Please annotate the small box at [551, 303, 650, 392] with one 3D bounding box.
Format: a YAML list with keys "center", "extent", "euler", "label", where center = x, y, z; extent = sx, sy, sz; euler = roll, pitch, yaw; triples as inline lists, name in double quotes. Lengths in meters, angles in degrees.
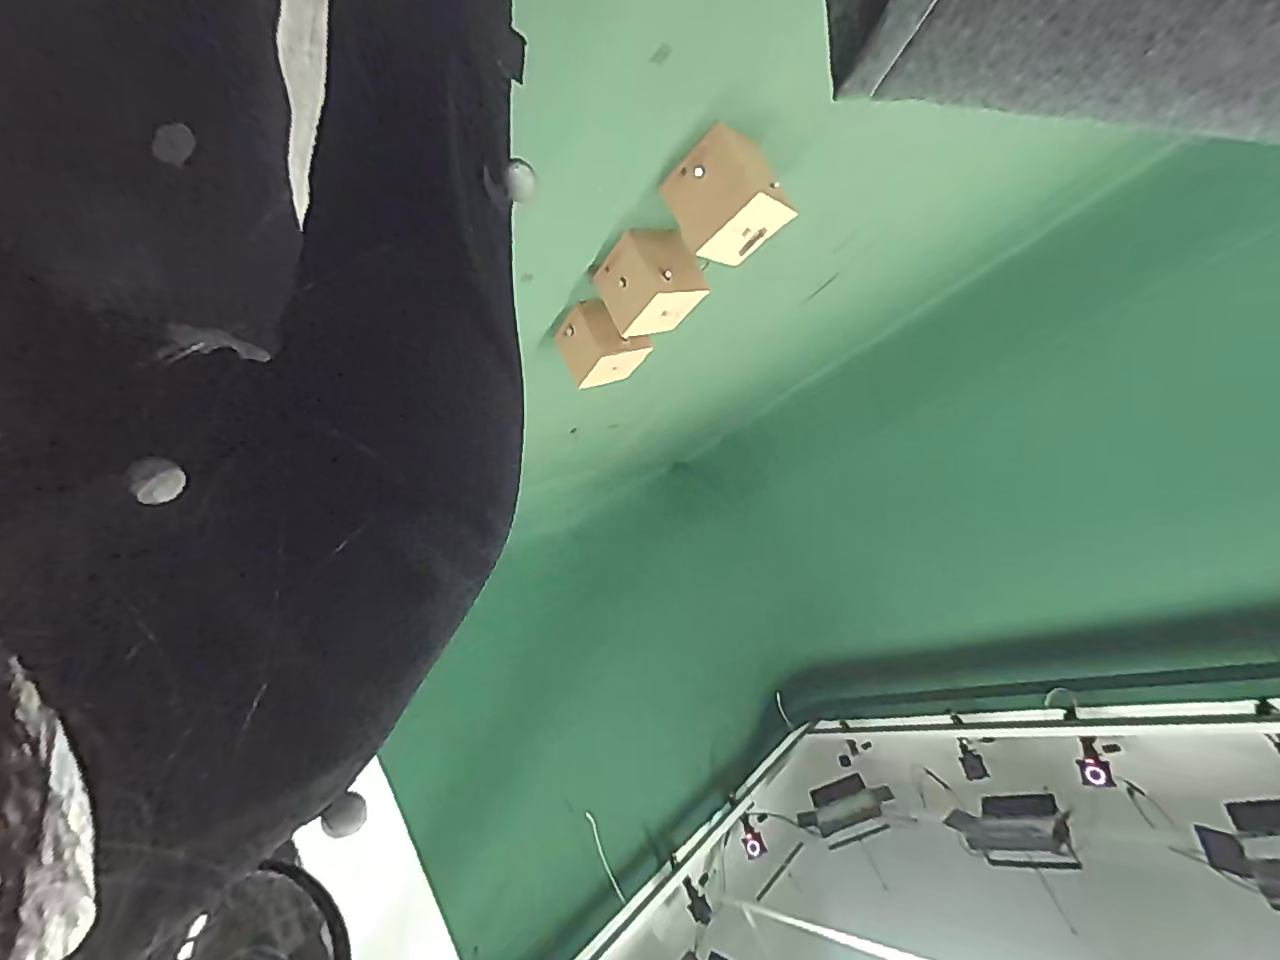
- center: [-0.112, -0.367, 1.467]
  extent: [0.179, 0.176, 0.168]
  euler: [-22, 170, -36]
  label: "small box"

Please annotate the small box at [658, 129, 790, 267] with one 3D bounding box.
- center: [0.170, -0.564, 1.096]
  extent: [0.168, 0.176, 0.179]
  euler: [-34, 169, 37]
  label: "small box"

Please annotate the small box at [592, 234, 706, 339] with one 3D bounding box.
- center: [0.016, -0.458, 1.275]
  extent: [0.179, 0.176, 0.168]
  euler: [-21, 171, -40]
  label: "small box"
